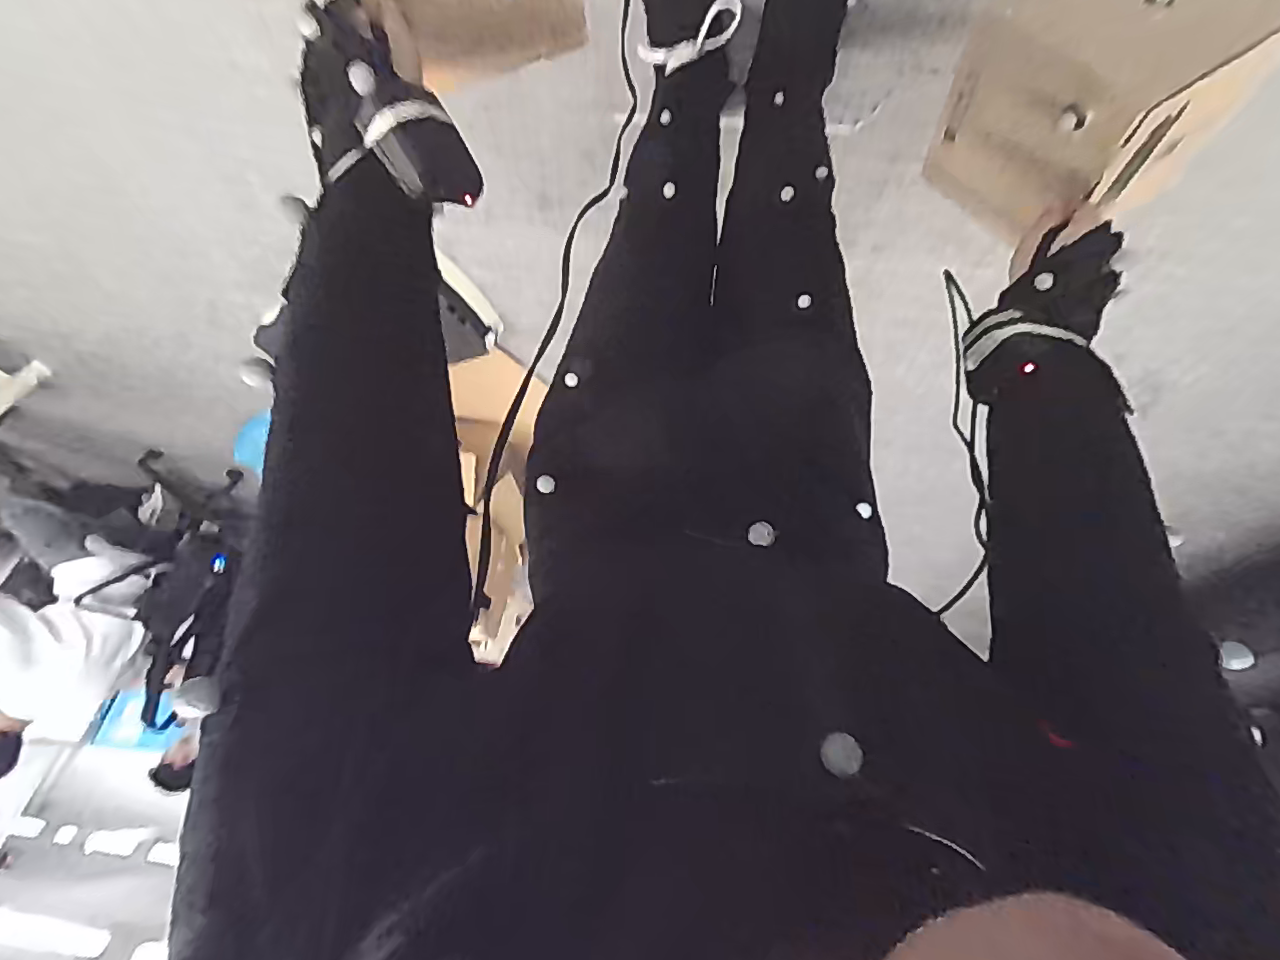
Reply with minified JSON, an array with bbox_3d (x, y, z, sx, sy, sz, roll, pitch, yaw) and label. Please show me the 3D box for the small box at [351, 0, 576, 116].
[{"bbox_3d":[-0.166,-0.451,0.434,0.176,0.179,0.168,-24,164,-3],"label":"small box"}]
